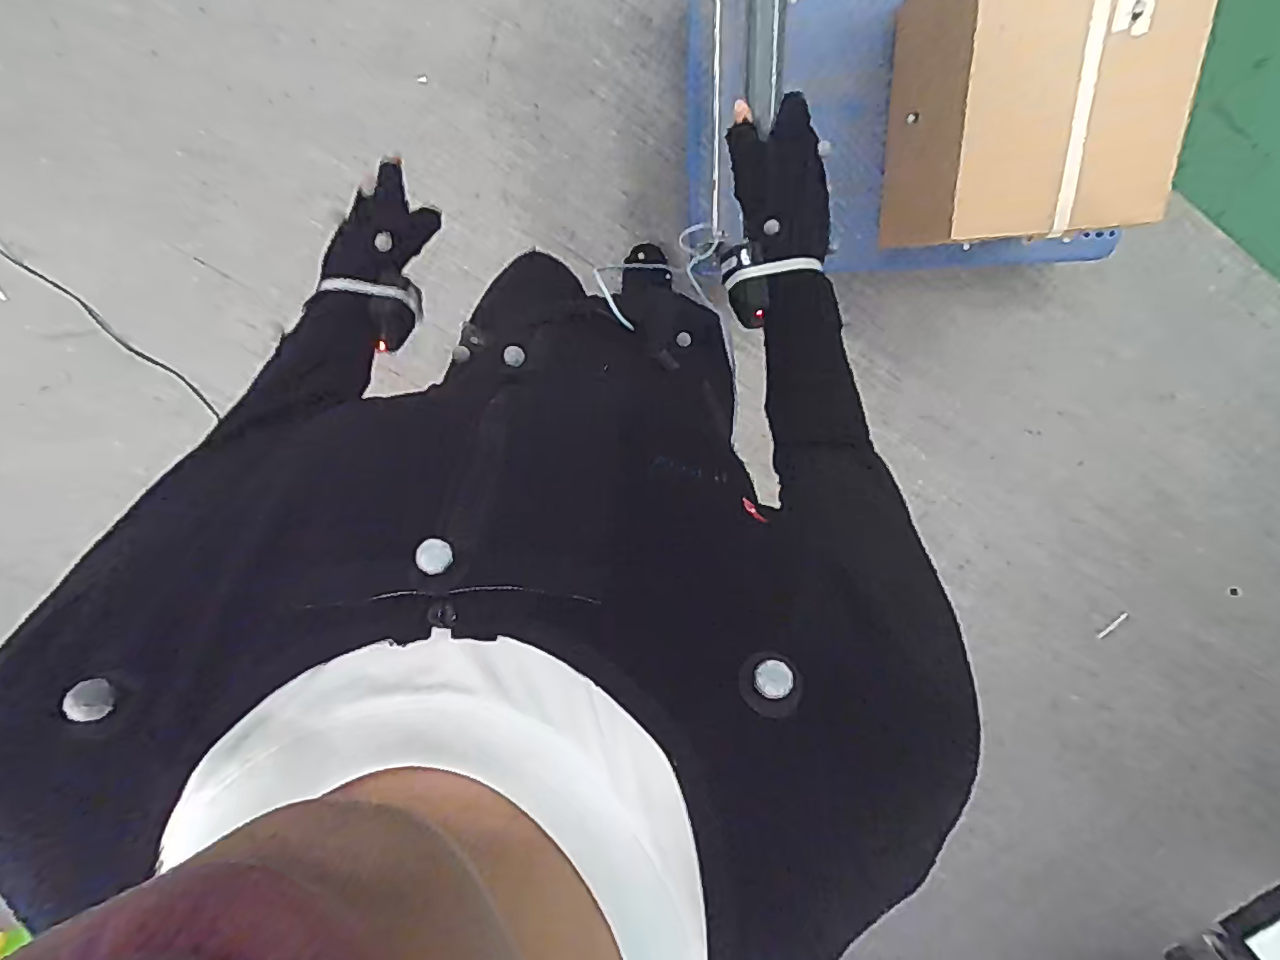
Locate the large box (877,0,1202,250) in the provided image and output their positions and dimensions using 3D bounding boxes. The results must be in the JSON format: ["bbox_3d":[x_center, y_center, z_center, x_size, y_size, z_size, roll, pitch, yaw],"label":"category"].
[{"bbox_3d":[0.611,-0.617,0.896,0.320,0.320,0.408,-3,111,3],"label":"large box"}]
